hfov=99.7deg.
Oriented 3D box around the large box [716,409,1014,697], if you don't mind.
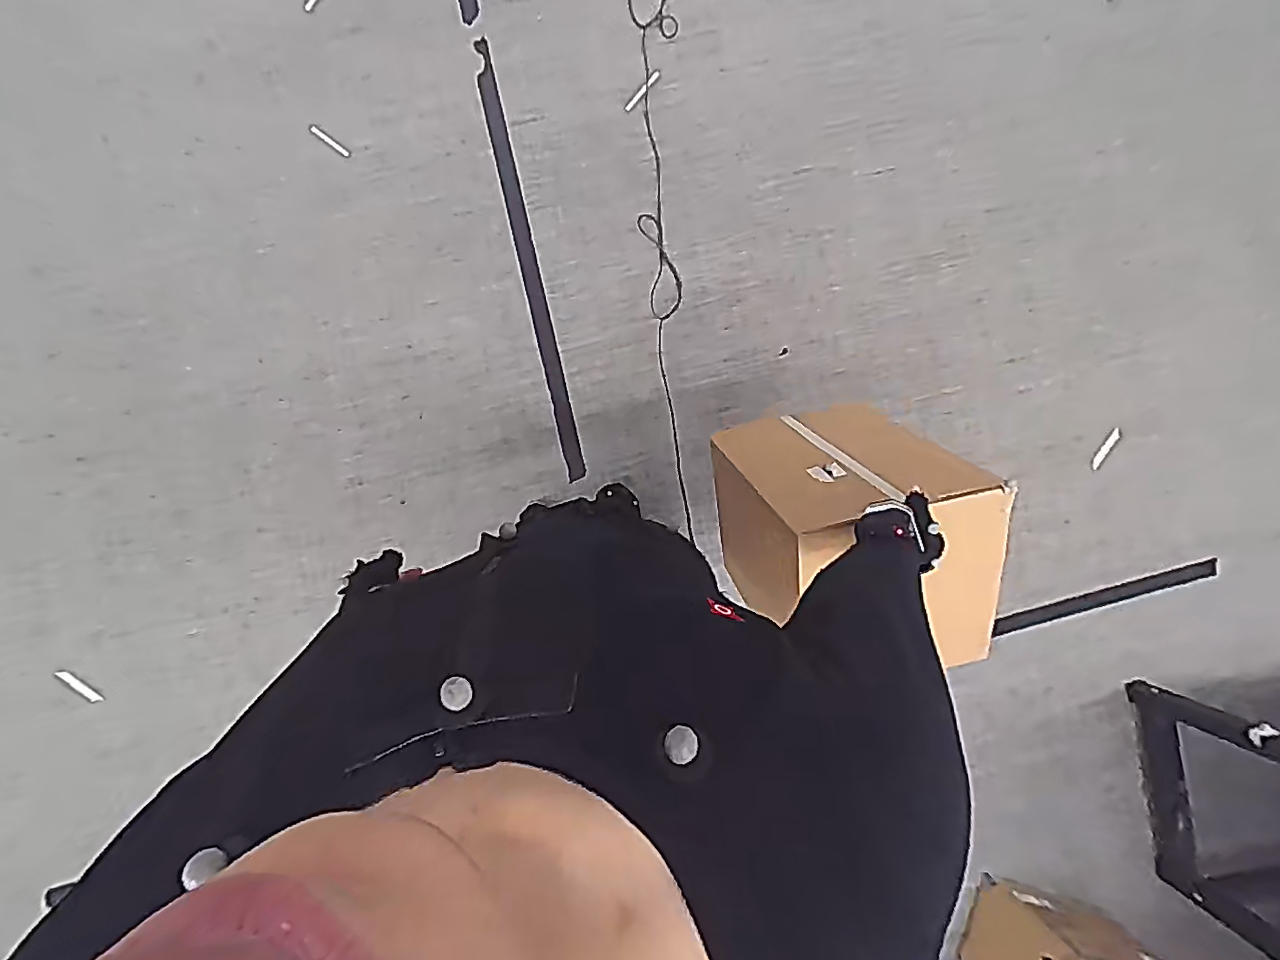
[{"bbox_3d":[0.354,0.100,0.971,0.320,0.408,0.320,-13,117,-6],"label":"large box"}]
